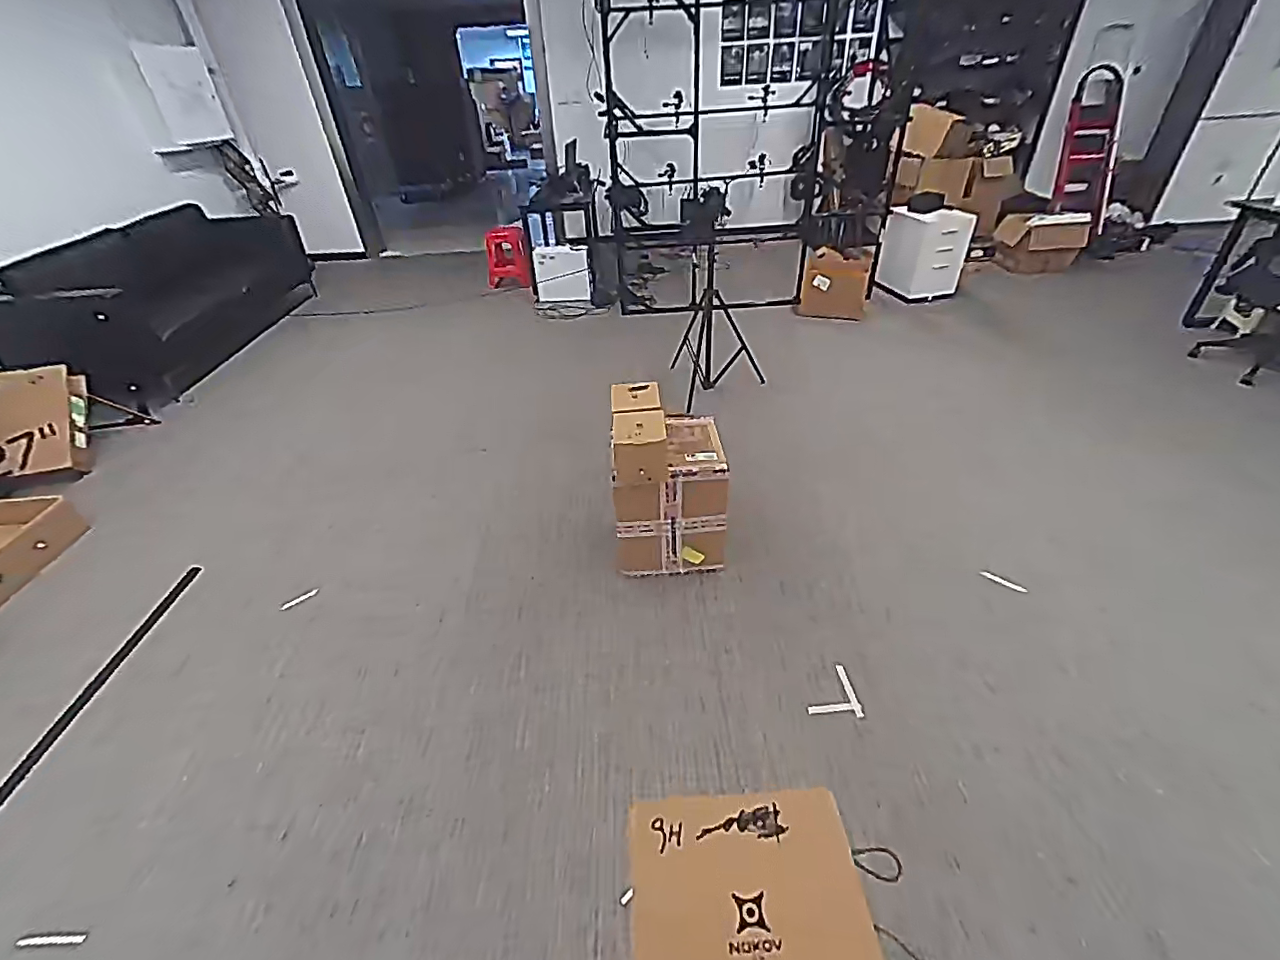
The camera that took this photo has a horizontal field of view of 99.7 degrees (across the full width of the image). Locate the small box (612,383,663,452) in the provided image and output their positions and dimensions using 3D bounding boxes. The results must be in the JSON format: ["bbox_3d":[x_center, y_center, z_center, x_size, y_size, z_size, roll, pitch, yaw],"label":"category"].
[{"bbox_3d":[-0.008,-0.219,1.901,0.168,0.176,0.179,-6,40,1],"label":"small box"}]
